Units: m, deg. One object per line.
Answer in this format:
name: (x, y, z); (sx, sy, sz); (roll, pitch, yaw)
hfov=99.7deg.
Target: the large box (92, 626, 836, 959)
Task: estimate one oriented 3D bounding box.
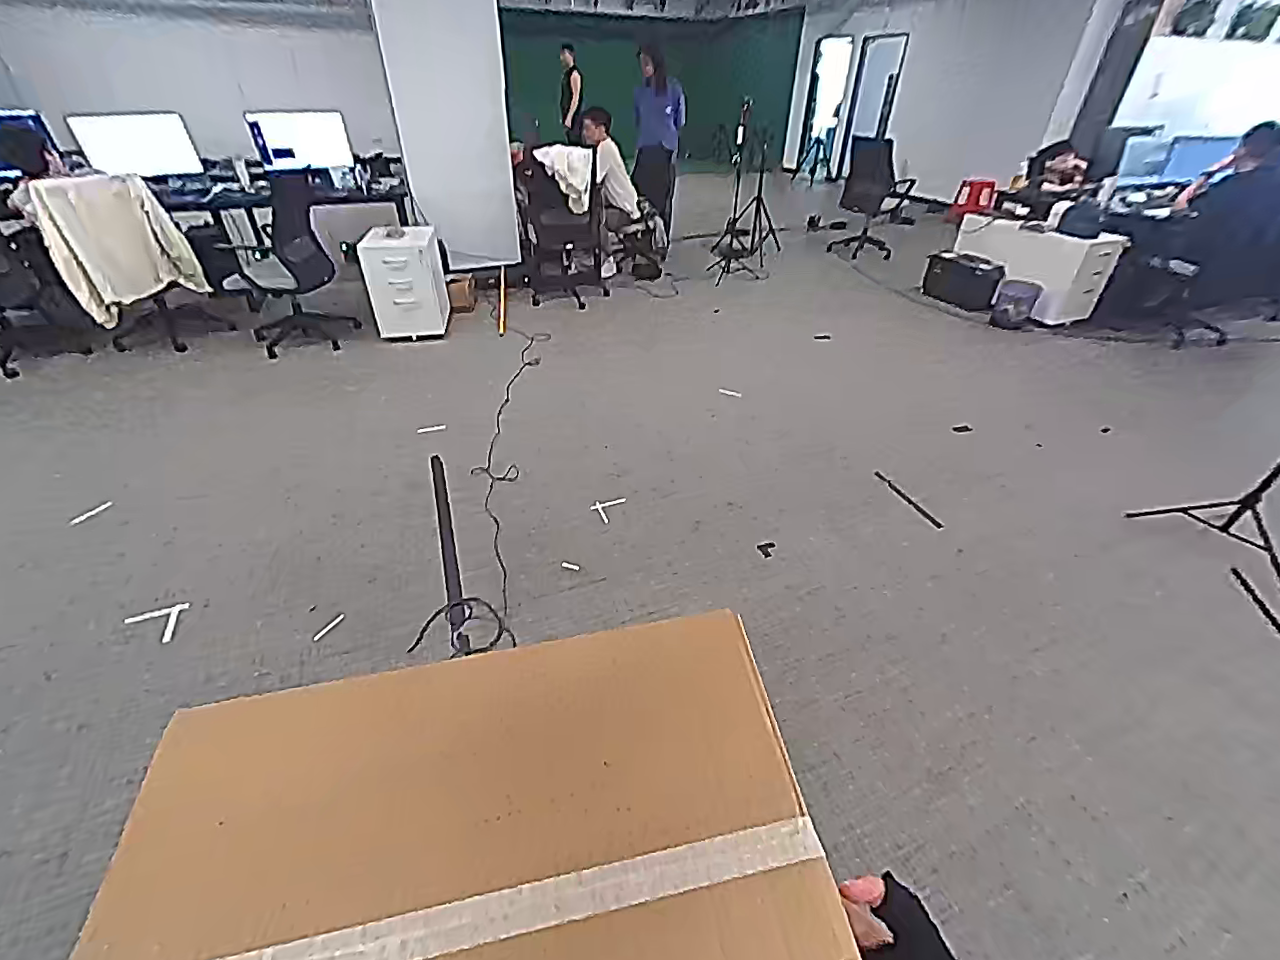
large box: (-0.094, 0.355, 0.408); (0.408, 0.320, 0.320); (-9, 46, -7)
